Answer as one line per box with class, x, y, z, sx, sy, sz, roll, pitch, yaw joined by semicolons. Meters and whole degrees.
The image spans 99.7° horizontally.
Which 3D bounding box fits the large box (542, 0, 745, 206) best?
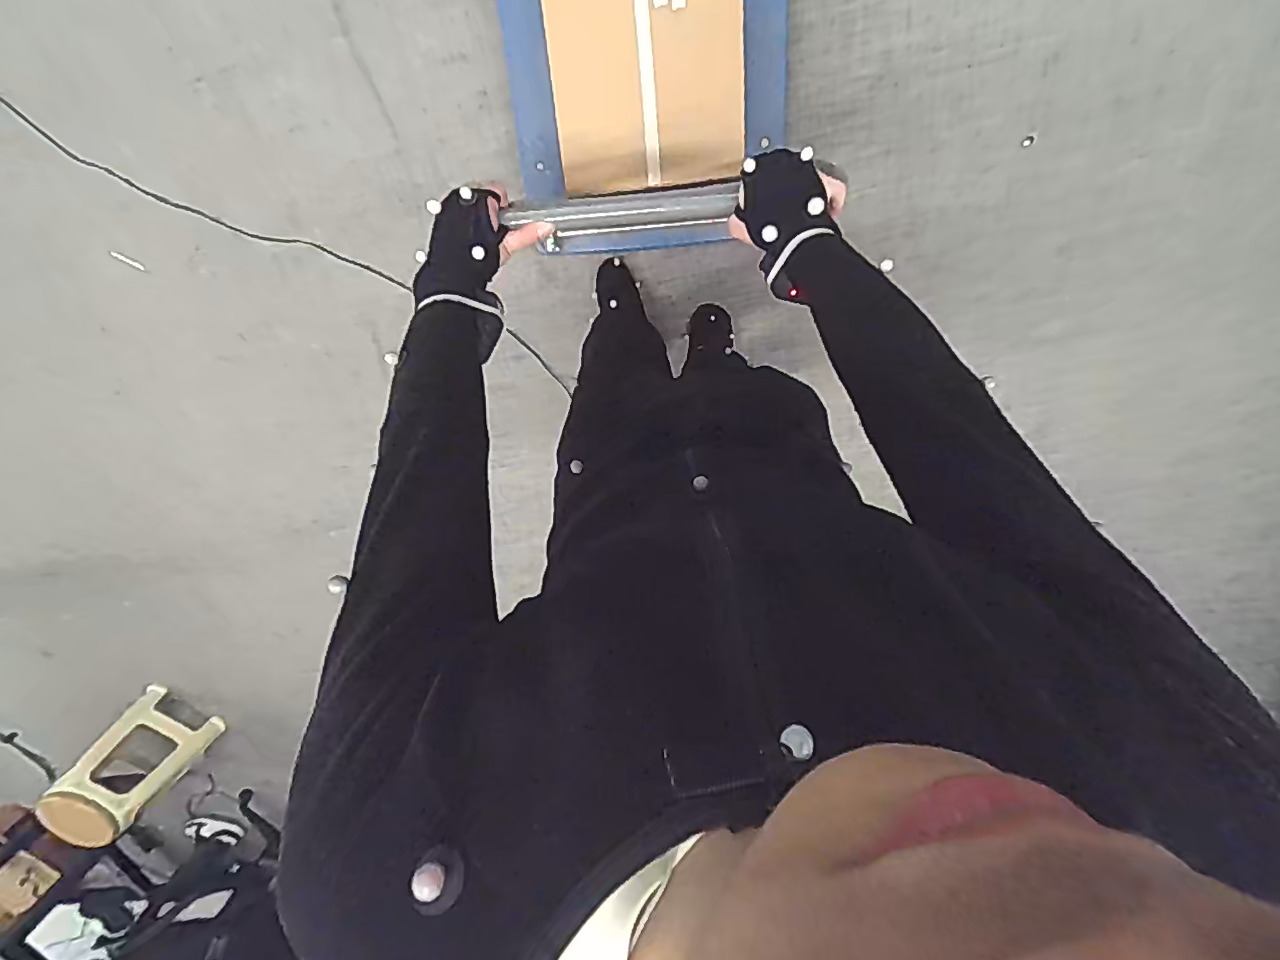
large box;0.019;-0.750;0.996;0.320;0.320;0.408;-3;114;6
